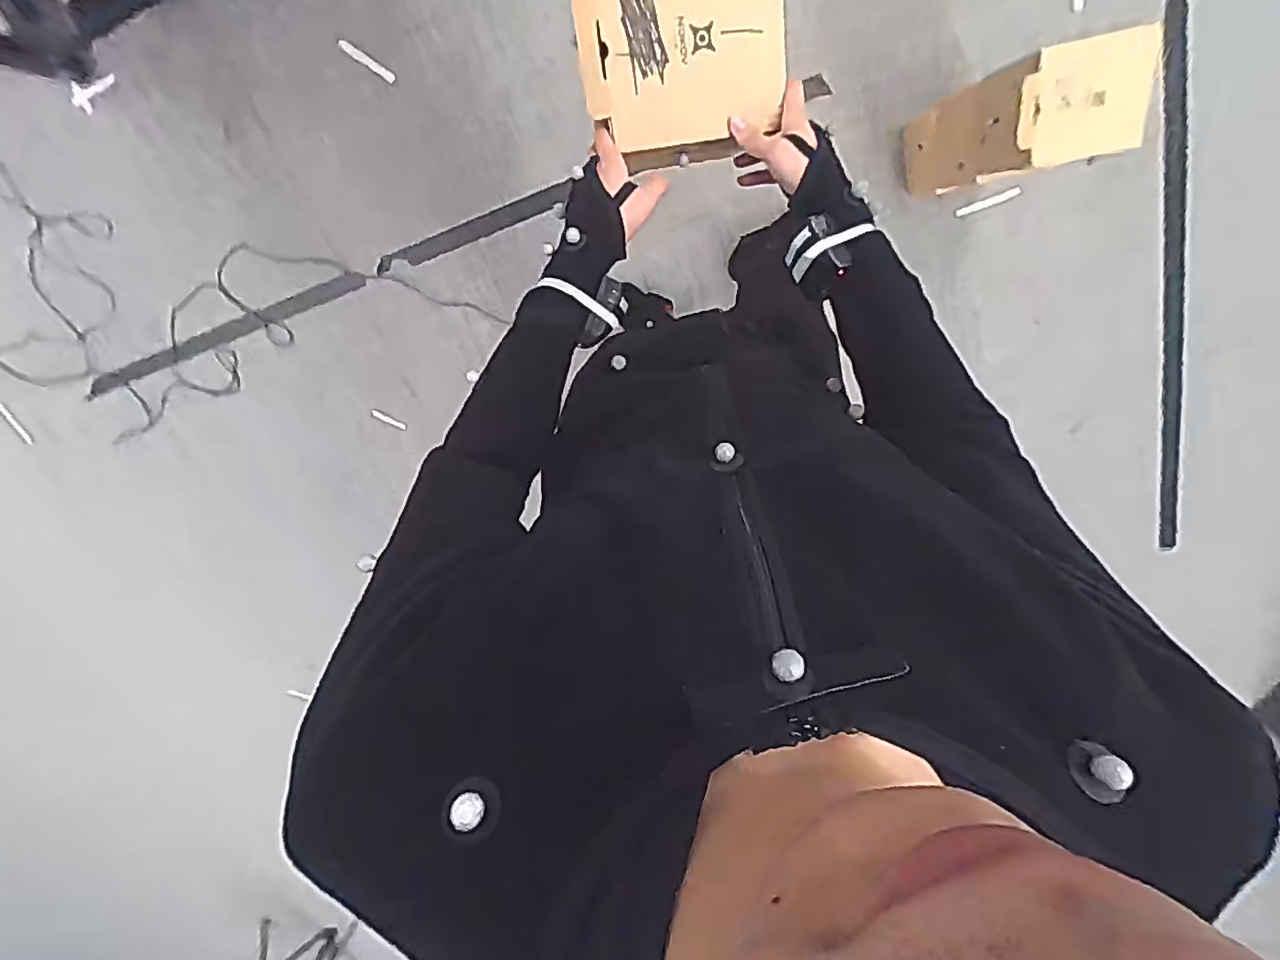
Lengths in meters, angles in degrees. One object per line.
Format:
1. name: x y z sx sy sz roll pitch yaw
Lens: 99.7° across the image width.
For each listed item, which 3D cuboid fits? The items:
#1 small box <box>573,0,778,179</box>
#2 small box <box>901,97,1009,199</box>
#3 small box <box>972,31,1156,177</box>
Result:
1. small box: 0.028 -0.429 0.567 0.179 0.176 0.168 -12 113 -4
2. small box: 0.718 -0.760 1.241 0.179 0.176 0.168 -14 114 8
3. small box: 0.715 -0.636 0.935 0.179 0.176 0.168 -8 115 6
